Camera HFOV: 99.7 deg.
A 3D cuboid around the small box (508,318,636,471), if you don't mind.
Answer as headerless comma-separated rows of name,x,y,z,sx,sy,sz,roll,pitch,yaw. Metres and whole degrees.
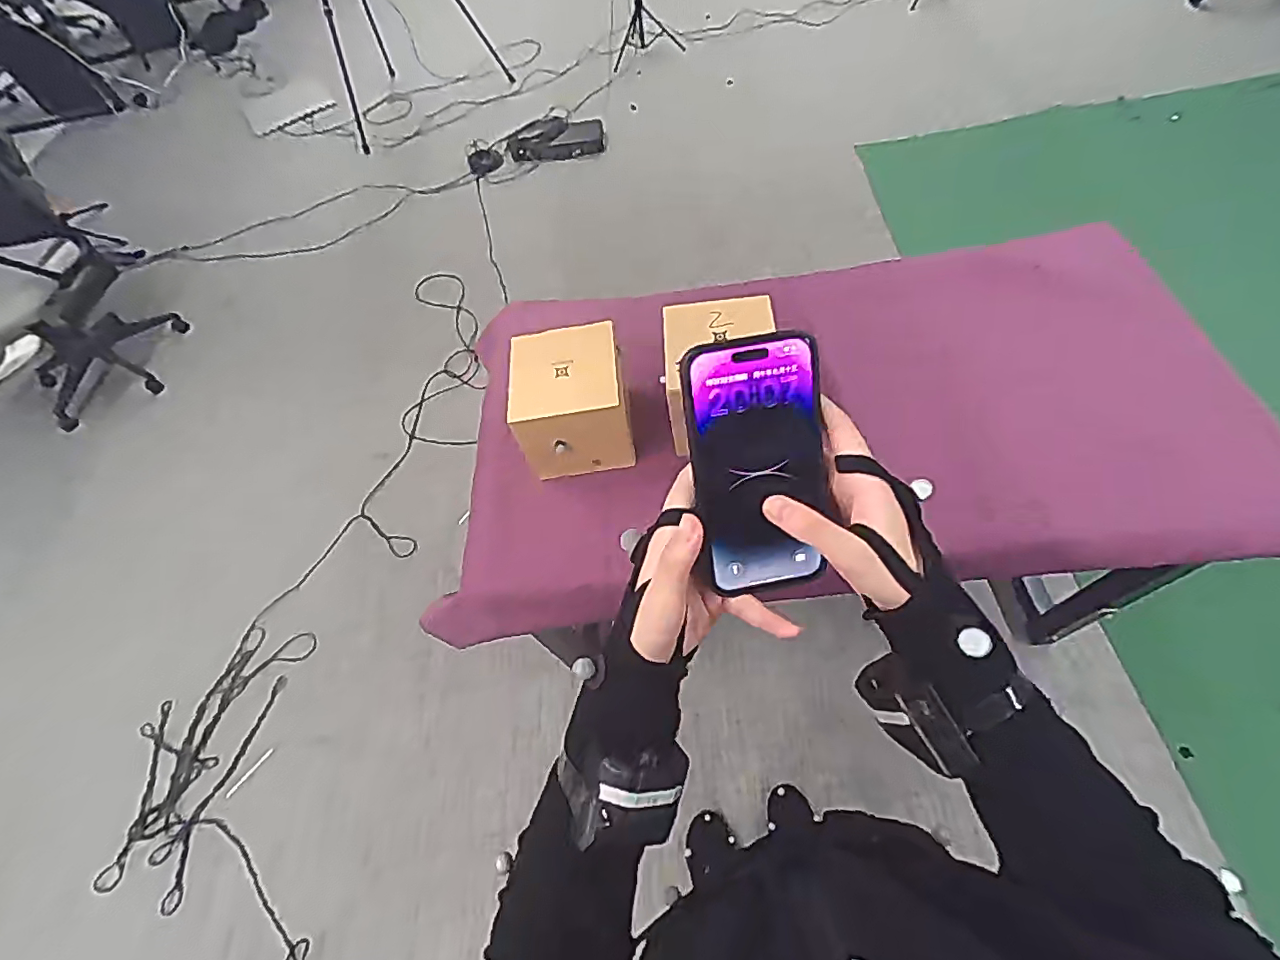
small box,-0.103,-0.128,0.876,0.168,0.176,0.179,-9,57,5
